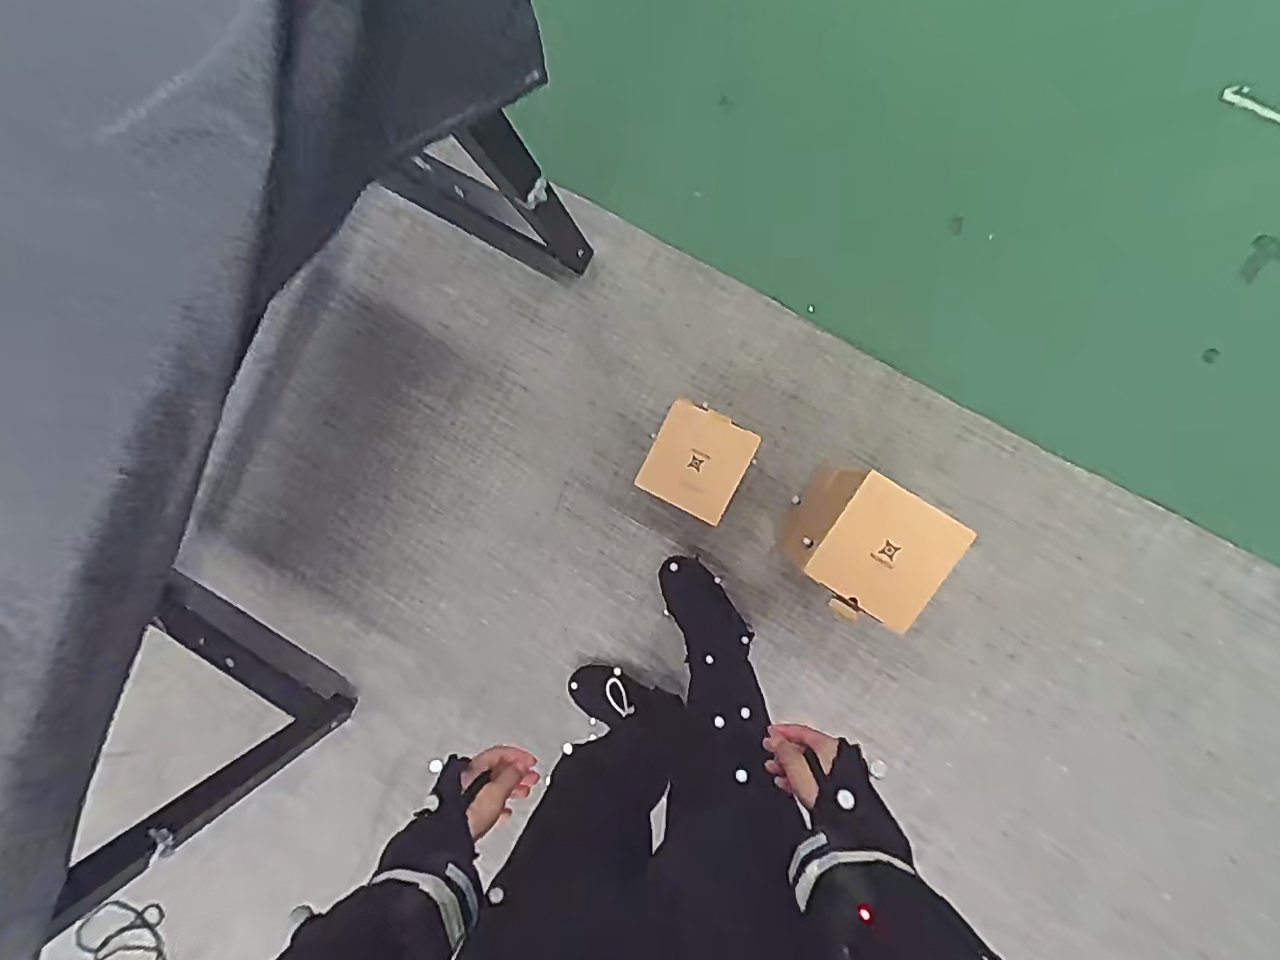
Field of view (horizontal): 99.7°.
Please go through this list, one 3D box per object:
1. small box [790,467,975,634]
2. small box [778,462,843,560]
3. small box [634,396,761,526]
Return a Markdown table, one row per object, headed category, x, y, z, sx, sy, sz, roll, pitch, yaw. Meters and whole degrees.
| category | x | y | z | sx | sy | sz | roll | pitch | yaw |
| --- | --- | --- | --- | --- | --- | --- | --- | --- | --- |
| small box | 0.346 | 0.092 | 0.815 | 0.168 | 0.176 | 0.179 | 32 | 97 | 4 |
| small box | 0.364 | 0.082 | 0.977 | 0.168 | 0.176 | 0.179 | 31 | 98 | 4 |
| small box | 0.106 | -0.038 | 1.006 | 0.168 | 0.176 | 0.179 | 27 | 97 | 6 |
